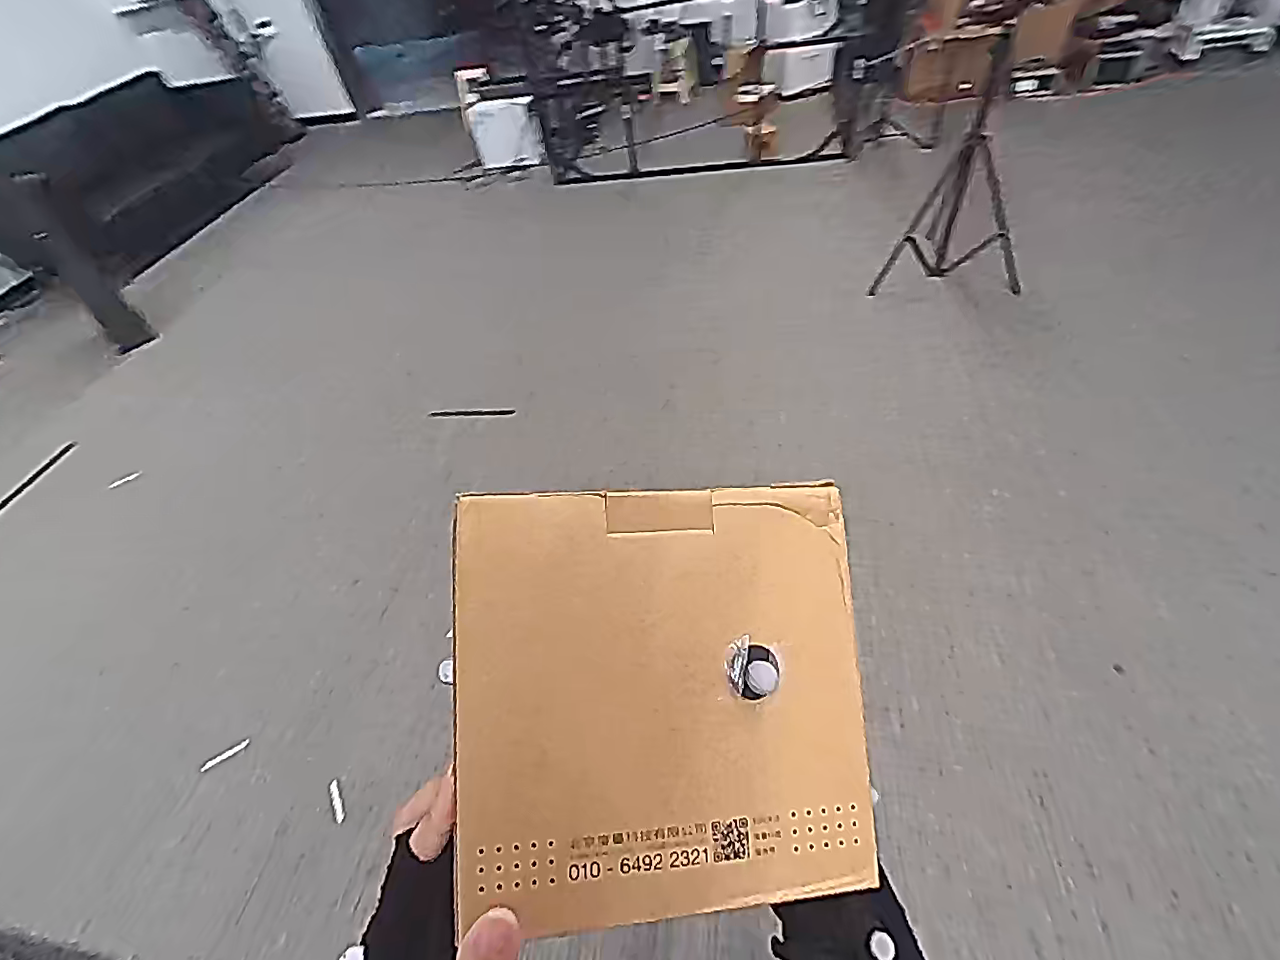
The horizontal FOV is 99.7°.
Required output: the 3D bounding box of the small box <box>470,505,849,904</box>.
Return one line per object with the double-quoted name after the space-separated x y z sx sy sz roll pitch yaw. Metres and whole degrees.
0.002 0.109 0.316 0.168 0.179 0.176 -2 82 -8 "small box"
